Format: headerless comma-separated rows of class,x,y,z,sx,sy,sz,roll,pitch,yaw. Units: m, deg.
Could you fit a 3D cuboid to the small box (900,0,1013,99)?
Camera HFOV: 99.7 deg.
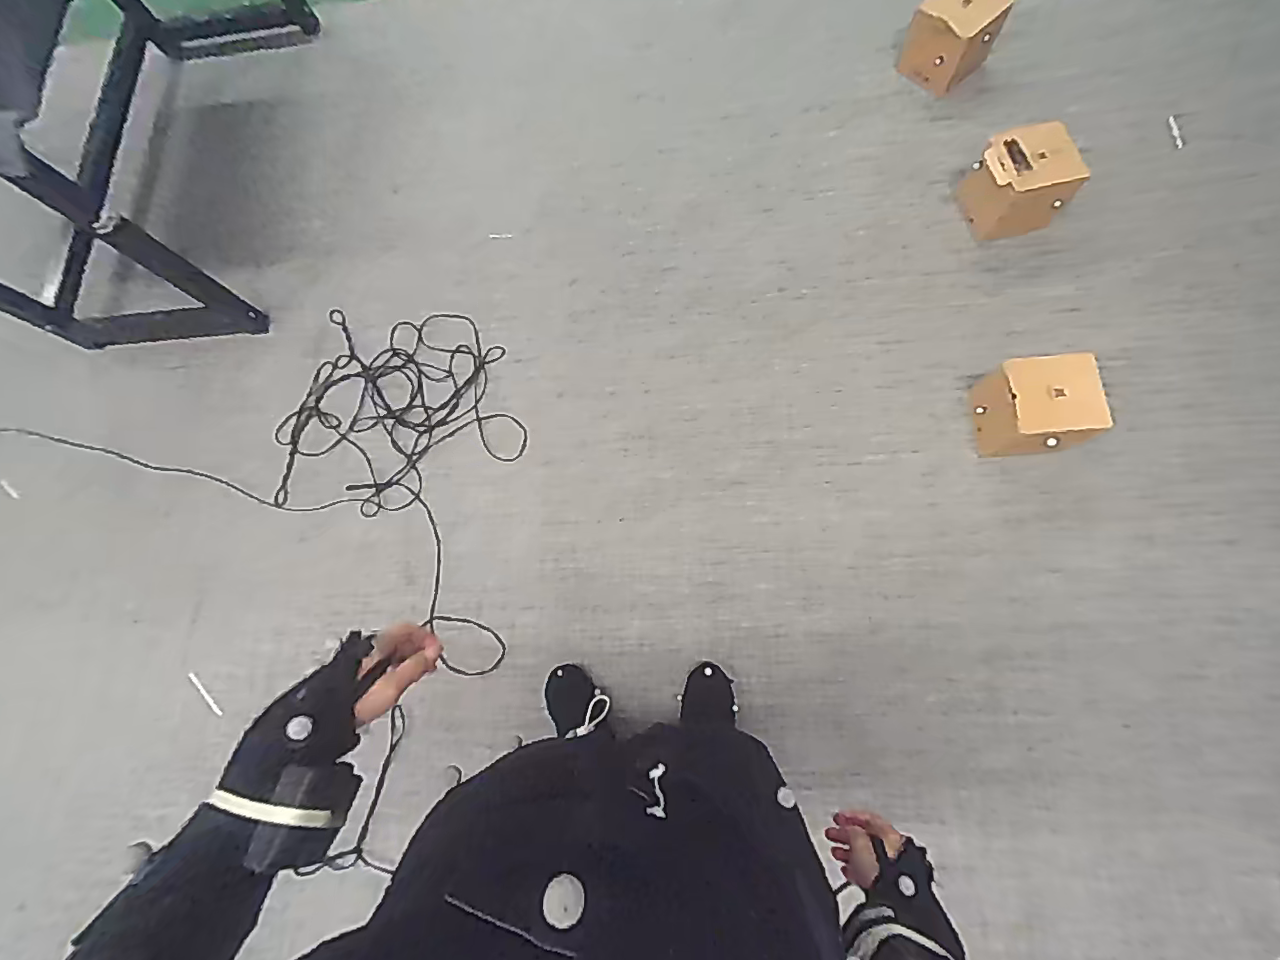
small box,0.825,-1.170,1.437,0.179,0.176,0.168,-41,76,-6

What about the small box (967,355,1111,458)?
small box,0.848,-0.152,1.166,0.179,0.176,0.168,-4,75,6
